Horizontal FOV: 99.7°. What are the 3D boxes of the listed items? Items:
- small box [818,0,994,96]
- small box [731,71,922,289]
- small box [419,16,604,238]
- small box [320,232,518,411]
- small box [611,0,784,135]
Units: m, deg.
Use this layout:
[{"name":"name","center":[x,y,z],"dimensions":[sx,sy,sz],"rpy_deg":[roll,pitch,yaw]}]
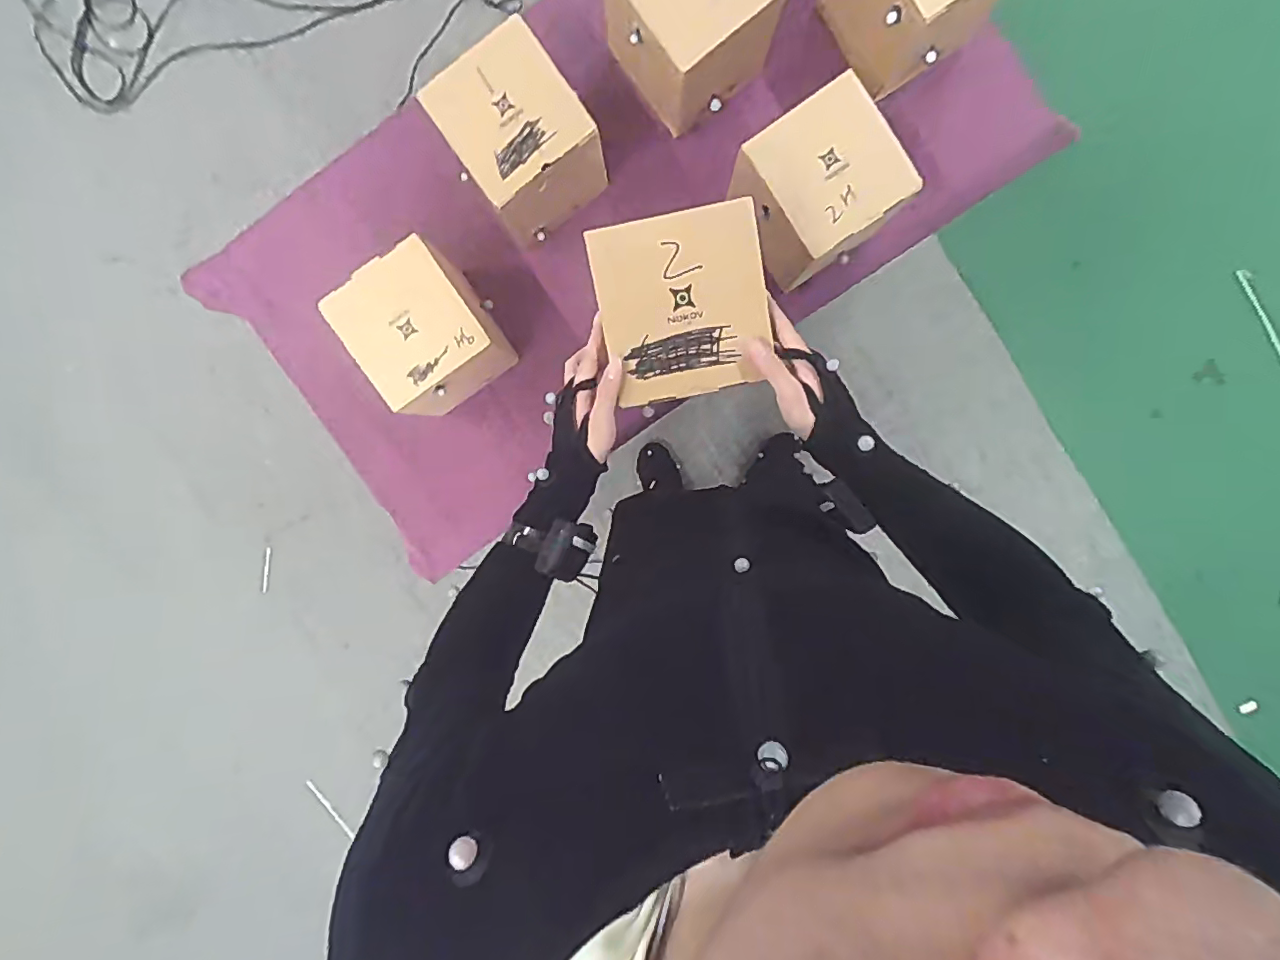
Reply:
[{"name":"small box","center":[0.373,-0.688,0.739],"dimensions":[0.168,0.176,0.179],"rpy_deg":[-32,97,3]},{"name":"small box","center":[0.245,-0.403,0.762],"dimensions":[0.168,0.176,0.179],"rpy_deg":[-34,92,4]},{"name":"small box","center":[-0.166,-0.474,0.765],"dimensions":[0.168,0.176,0.179],"rpy_deg":[-36,93,3]},{"name":"small box","center":[-0.307,-0.214,0.788],"dimensions":[0.168,0.176,0.179],"rpy_deg":[-34,93,5]},{"name":"small box","center":[0.069,-0.635,0.749],"dimensions":[0.168,0.176,0.179],"rpy_deg":[-36,94,5]}]
